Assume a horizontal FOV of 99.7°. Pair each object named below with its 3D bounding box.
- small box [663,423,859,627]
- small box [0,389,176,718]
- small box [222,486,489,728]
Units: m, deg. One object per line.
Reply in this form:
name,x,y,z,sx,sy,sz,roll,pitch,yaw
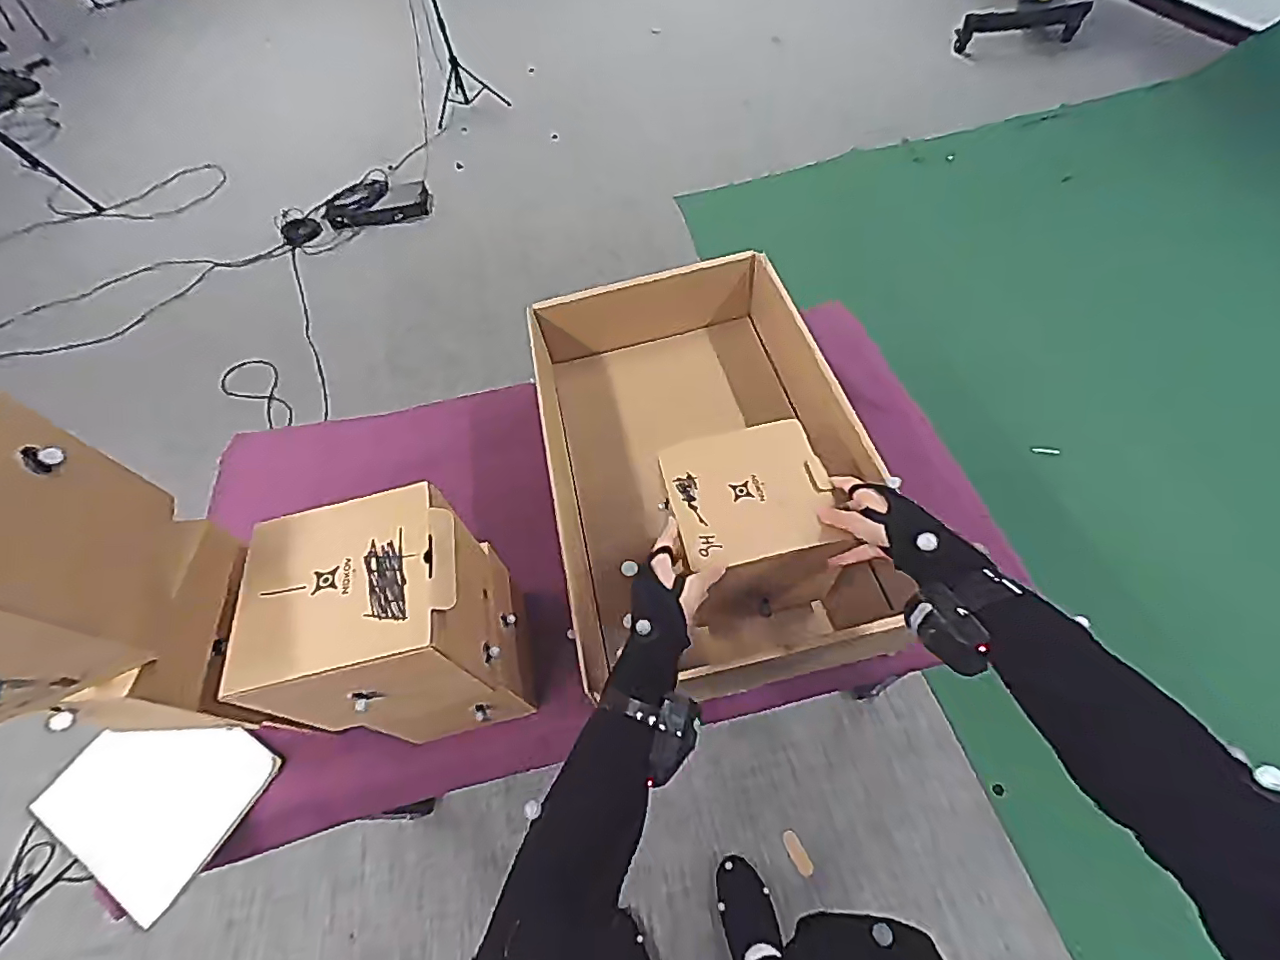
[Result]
small box,0.129,0.059,0.651,0.179,0.176,0.168,-11,55,-3
small box,-0.513,0.067,0.421,0.168,0.176,0.179,-22,58,-6
small box,-0.259,0.133,0.543,0.179,0.176,0.168,-14,56,-3
